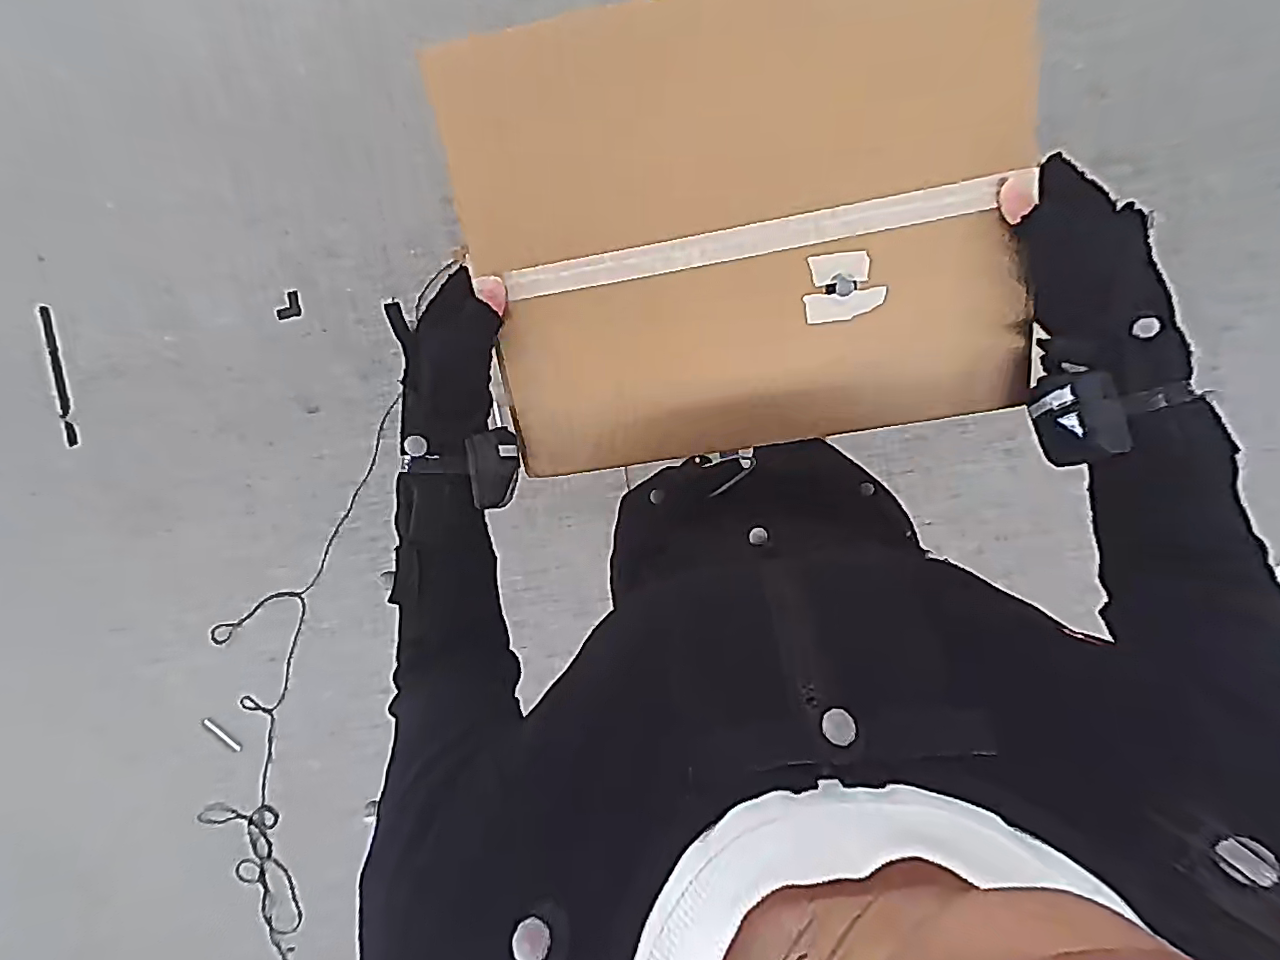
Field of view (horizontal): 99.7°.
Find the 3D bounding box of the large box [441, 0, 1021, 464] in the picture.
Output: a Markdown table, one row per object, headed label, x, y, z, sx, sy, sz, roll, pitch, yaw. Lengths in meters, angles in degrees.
| label | x | y | z | sx | sy | sz | roll | pitch | yaw |
| --- | --- | --- | --- | --- | --- | --- | --- | --- | --- |
| large box | 0.082 | -0.234 | 0.551 | 0.408 | 0.320 | 0.320 | -9 | 108 | 5 |
